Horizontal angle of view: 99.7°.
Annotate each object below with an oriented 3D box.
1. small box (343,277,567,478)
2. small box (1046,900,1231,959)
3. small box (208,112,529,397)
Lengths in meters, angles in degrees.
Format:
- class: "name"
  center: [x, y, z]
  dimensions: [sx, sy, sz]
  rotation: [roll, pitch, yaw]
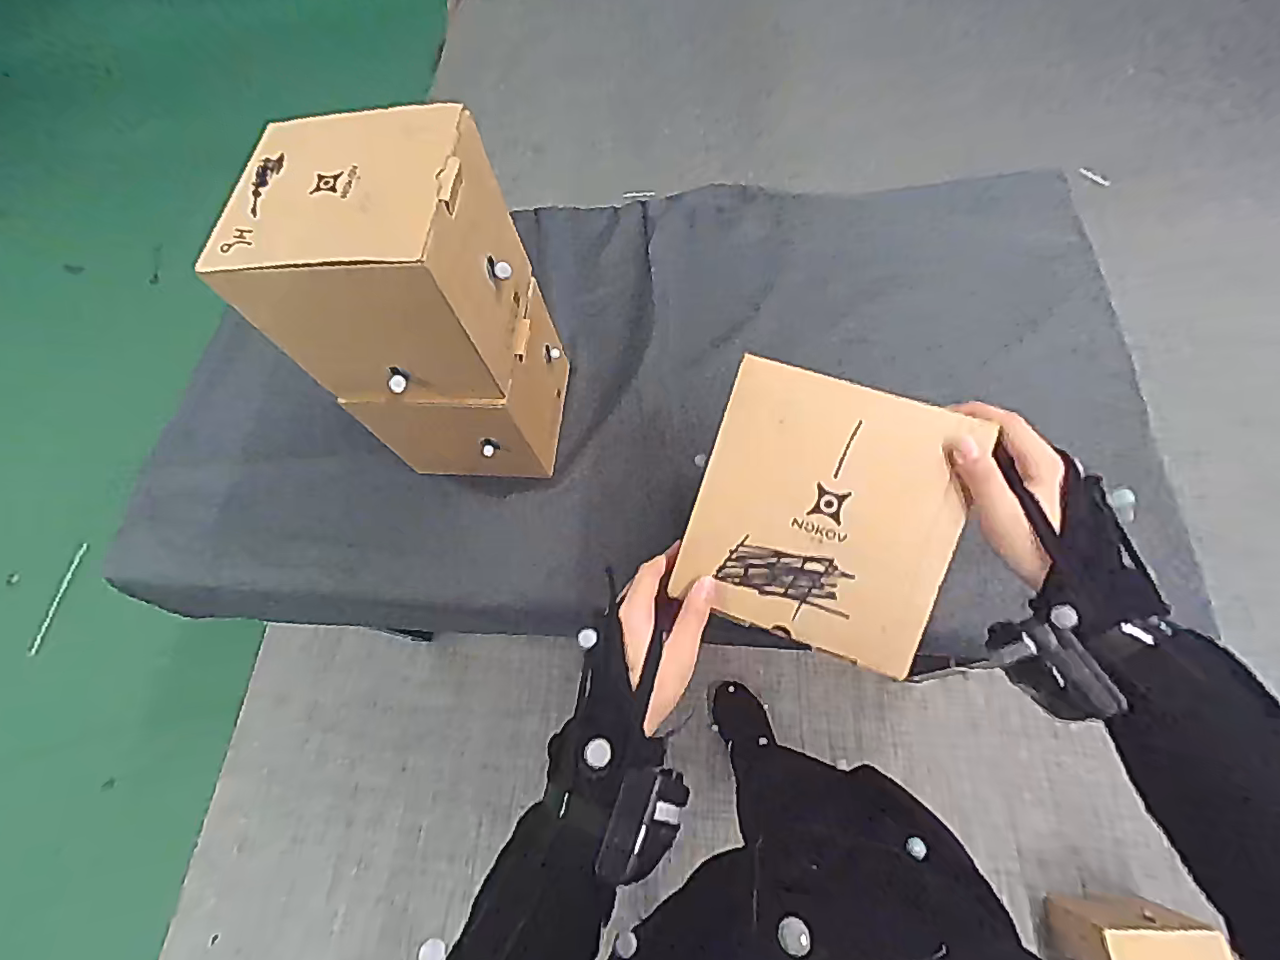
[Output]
- class: "small box"
  center: [-0.192, -0.111, 0.625]
  dimensions: [0.179, 0.176, 0.168]
  rotation: [1, 64, 9]
- class: "small box"
  center: [0.822, 0.808, 0.882]
  dimensions: [0.179, 0.176, 0.168]
  rotation: [-4, 65, 6]
- class: "small box"
  center: [-0.211, -0.186, 0.481]
  dimensions: [0.179, 0.176, 0.168]
  rotation: [1, 65, 7]
